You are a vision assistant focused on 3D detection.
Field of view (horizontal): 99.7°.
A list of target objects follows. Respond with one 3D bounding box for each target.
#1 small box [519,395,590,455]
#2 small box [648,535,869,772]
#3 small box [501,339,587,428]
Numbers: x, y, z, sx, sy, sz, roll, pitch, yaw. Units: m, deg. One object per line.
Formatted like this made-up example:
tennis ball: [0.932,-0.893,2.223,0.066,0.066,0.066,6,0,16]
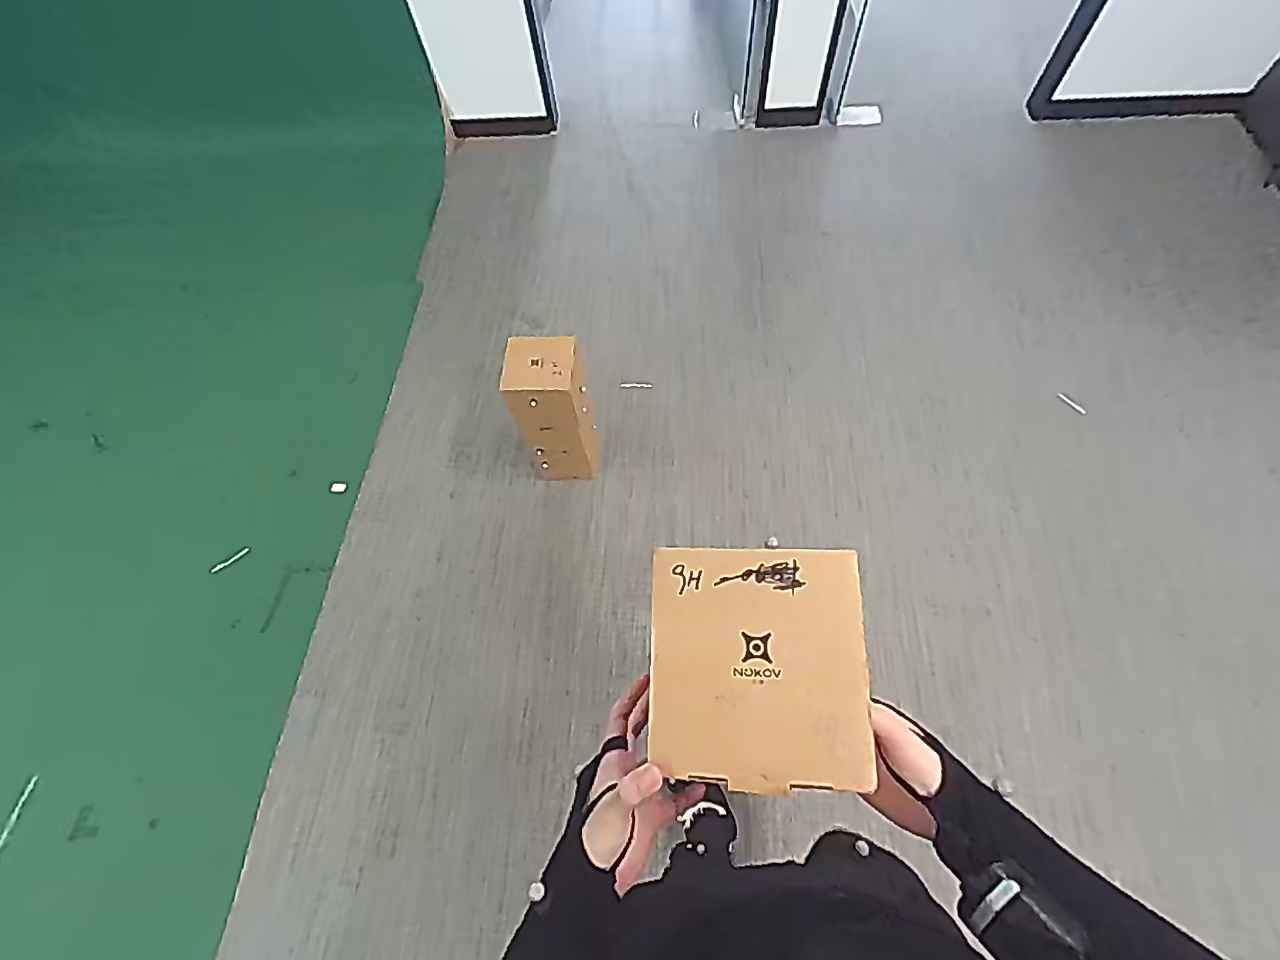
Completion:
small box: [-0.239,-0.183,1.557,0.168,0.176,0.179,0,63,3]
small box: [0.100,0.153,0.503,0.168,0.176,0.179,0,72,7]
small box: [-0.242,-0.246,1.404,0.179,0.176,0.168,1,64,3]
